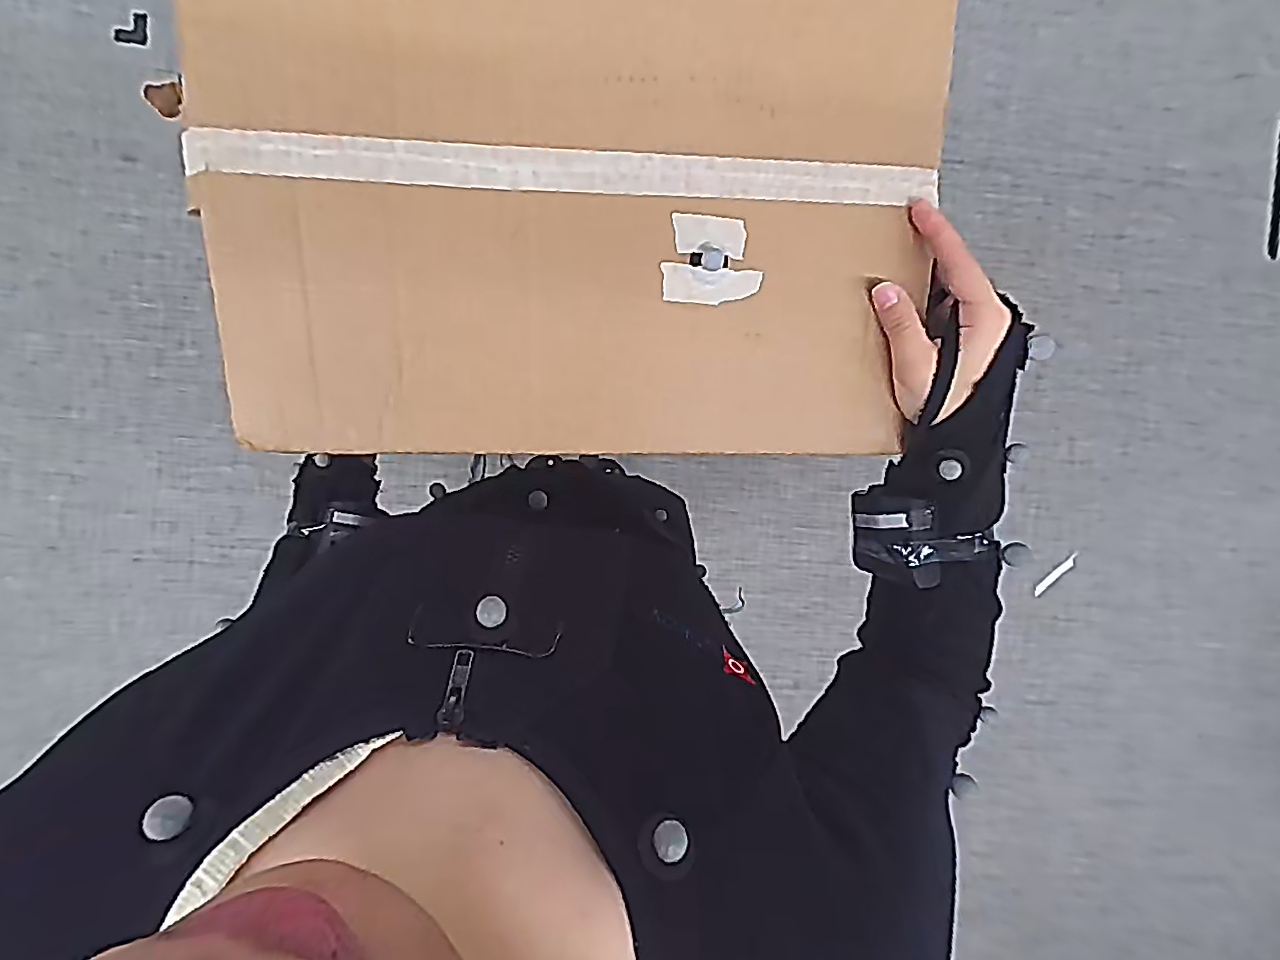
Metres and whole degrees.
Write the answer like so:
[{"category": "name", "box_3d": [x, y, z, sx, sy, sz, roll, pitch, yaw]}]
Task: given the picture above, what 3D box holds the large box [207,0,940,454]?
[{"category": "large box", "box_3d": [-0.042, -0.200, 0.456, 0.408, 0.320, 0.320, -1, 102, -7]}]
